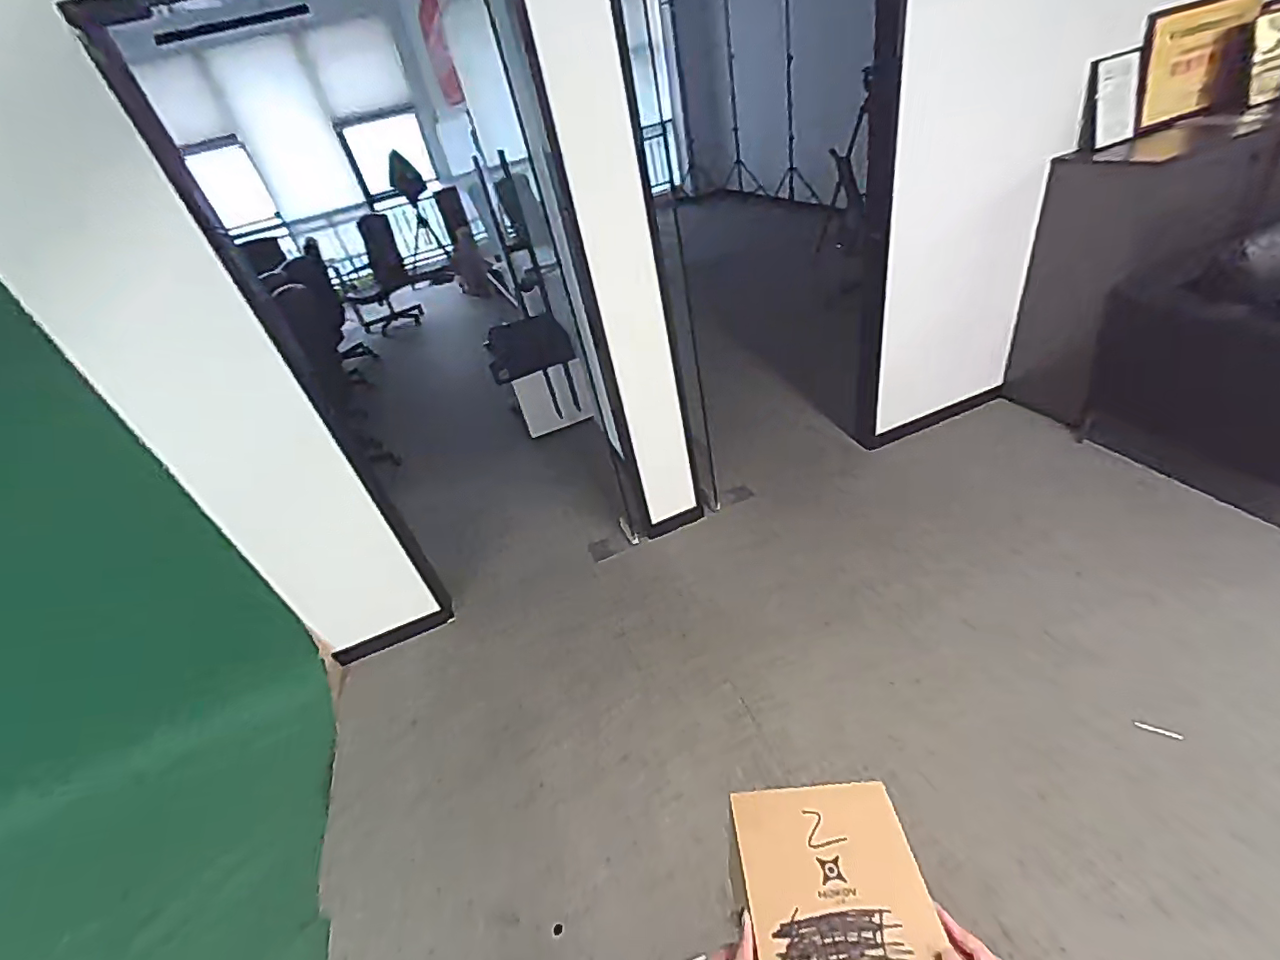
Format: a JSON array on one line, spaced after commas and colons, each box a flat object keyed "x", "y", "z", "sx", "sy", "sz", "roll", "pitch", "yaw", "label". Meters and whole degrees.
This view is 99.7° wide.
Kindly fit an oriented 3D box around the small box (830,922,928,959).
[{"x": 0.463, "y": 0.969, "z": 0.996, "sx": 0.168, "sy": 0.176, "sz": 0.179, "roll": -17, "pitch": 37, "yaw": -5, "label": "small box"}]
